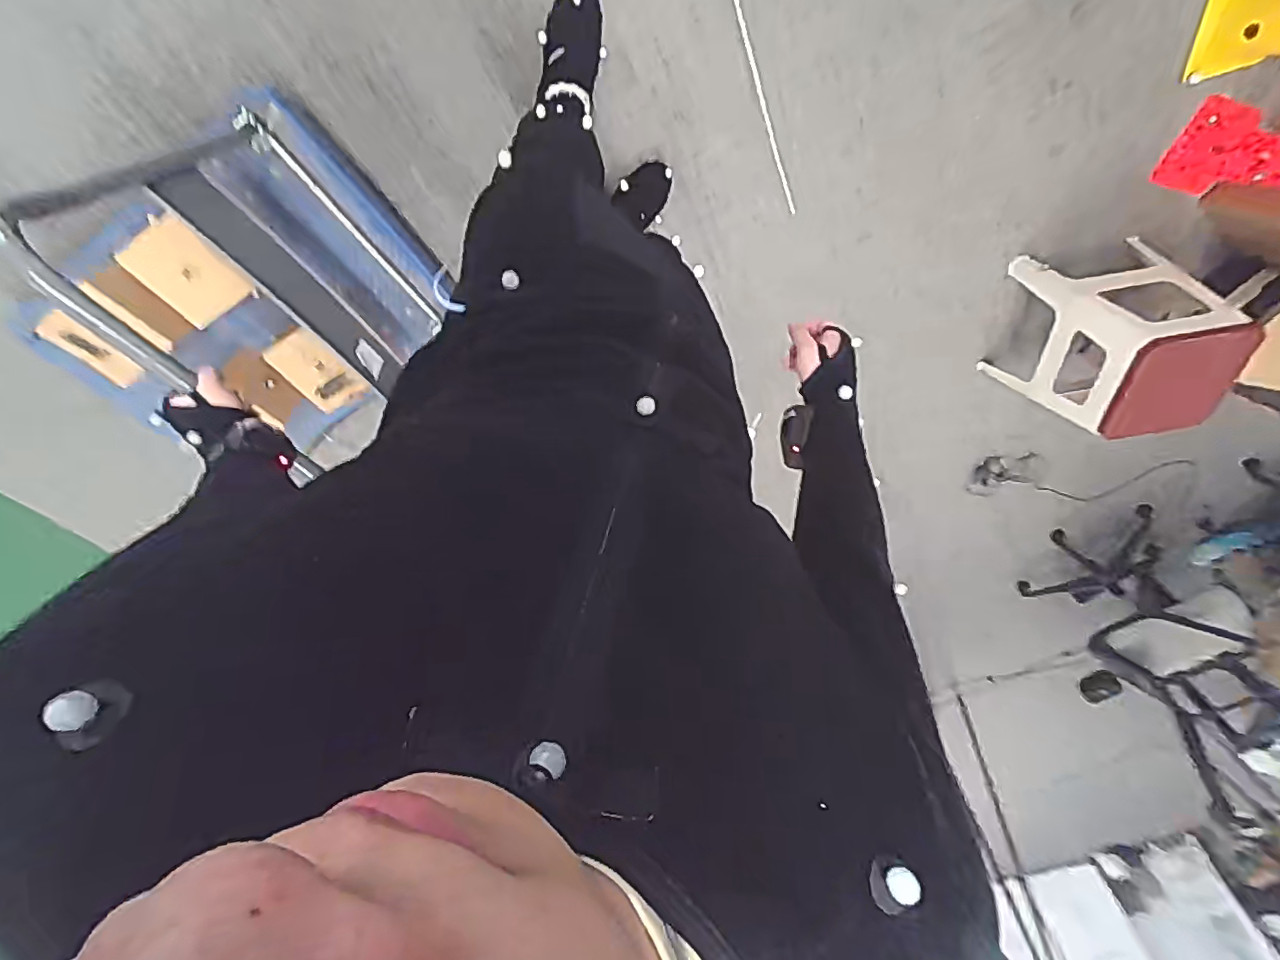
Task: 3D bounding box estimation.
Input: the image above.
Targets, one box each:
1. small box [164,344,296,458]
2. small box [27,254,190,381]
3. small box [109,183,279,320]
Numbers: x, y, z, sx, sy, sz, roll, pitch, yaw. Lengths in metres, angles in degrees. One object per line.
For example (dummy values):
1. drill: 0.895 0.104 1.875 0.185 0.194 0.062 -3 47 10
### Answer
1. small box: -0.962 -0.192 1.292 0.179 0.176 0.168 -31 128 16
2. small box: -1.090 -0.349 1.135 0.179 0.176 0.168 -29 130 15
3. small box: -0.873 -0.457 1.080 0.179 0.176 0.168 -26 129 13
